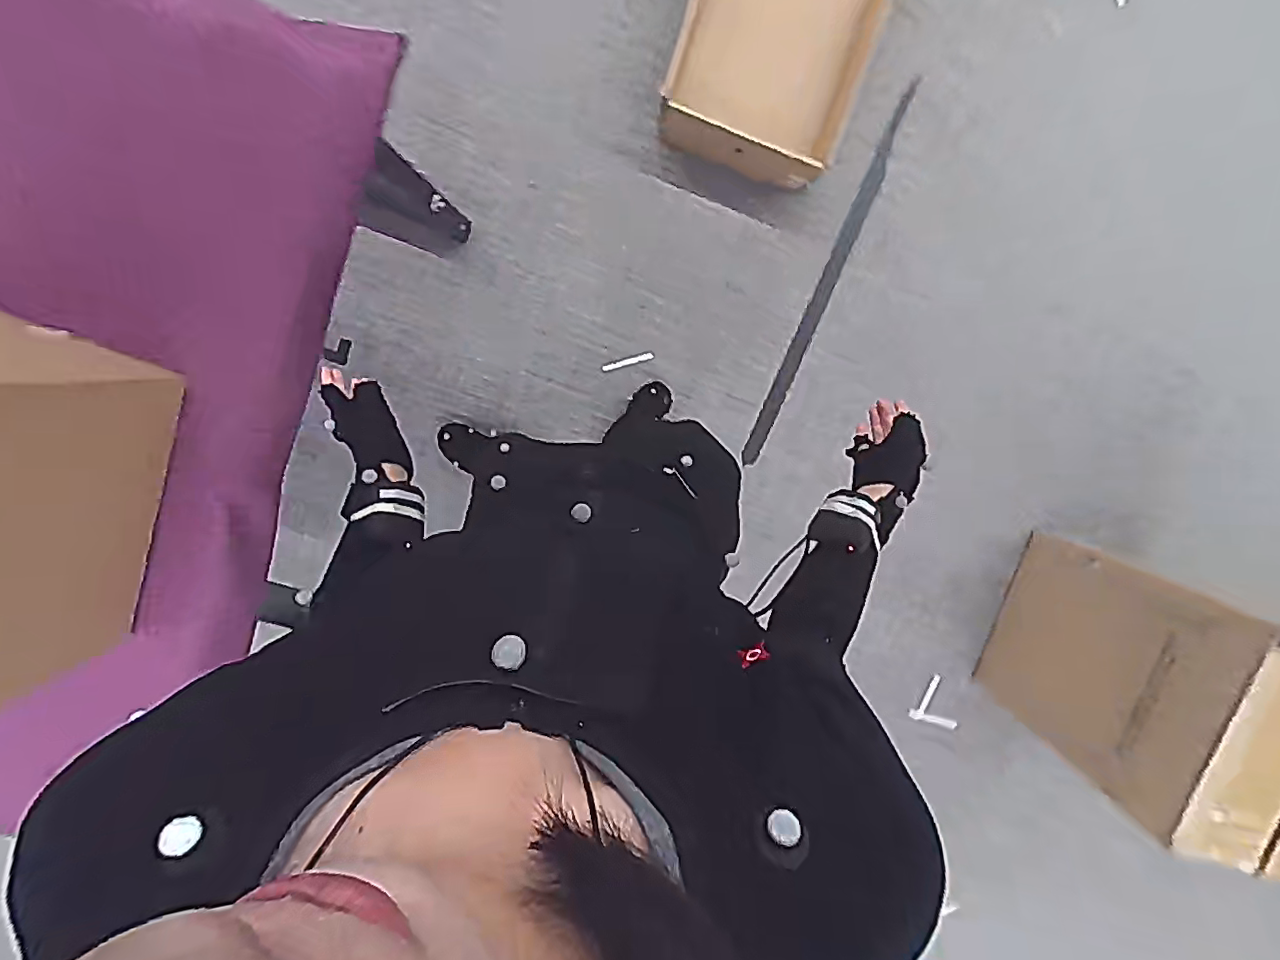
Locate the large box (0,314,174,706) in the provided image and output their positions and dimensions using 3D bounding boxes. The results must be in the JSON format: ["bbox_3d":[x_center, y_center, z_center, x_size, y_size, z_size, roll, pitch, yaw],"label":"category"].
[{"bbox_3d":[-0.799,0.025,0.574,0.320,0.320,0.408,19,99,-8],"label":"large box"}]
